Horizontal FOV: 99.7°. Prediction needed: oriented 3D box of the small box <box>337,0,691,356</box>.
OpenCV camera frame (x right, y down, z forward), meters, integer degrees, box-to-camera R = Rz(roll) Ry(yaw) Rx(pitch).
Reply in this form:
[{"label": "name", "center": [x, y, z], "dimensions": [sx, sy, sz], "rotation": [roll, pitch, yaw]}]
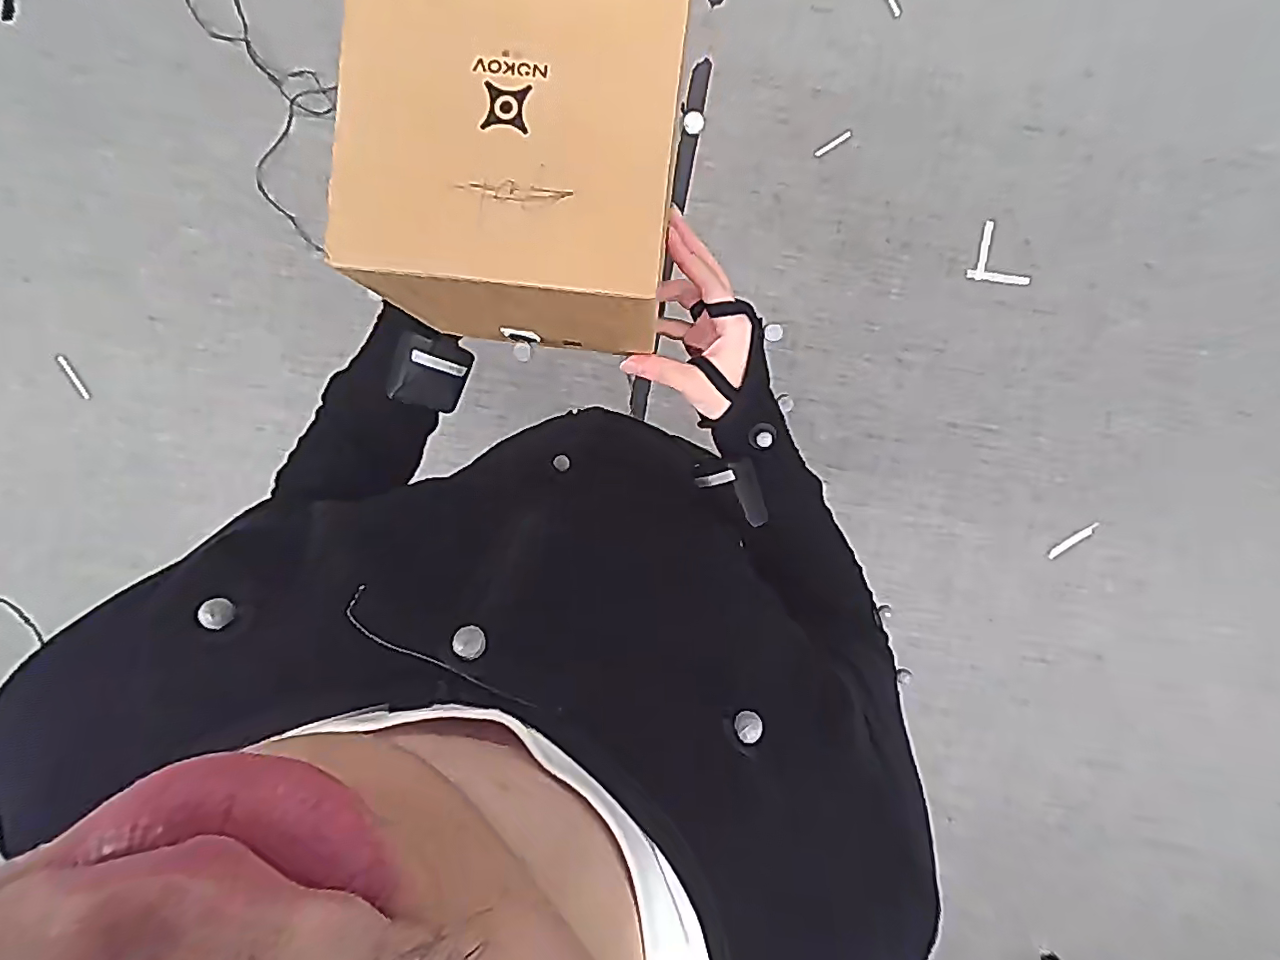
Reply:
[{"label": "small box", "center": [-0.063, -0.190, 0.352], "dimensions": [0.168, 0.176, 0.179], "rotation": [6, 93, 1]}]
